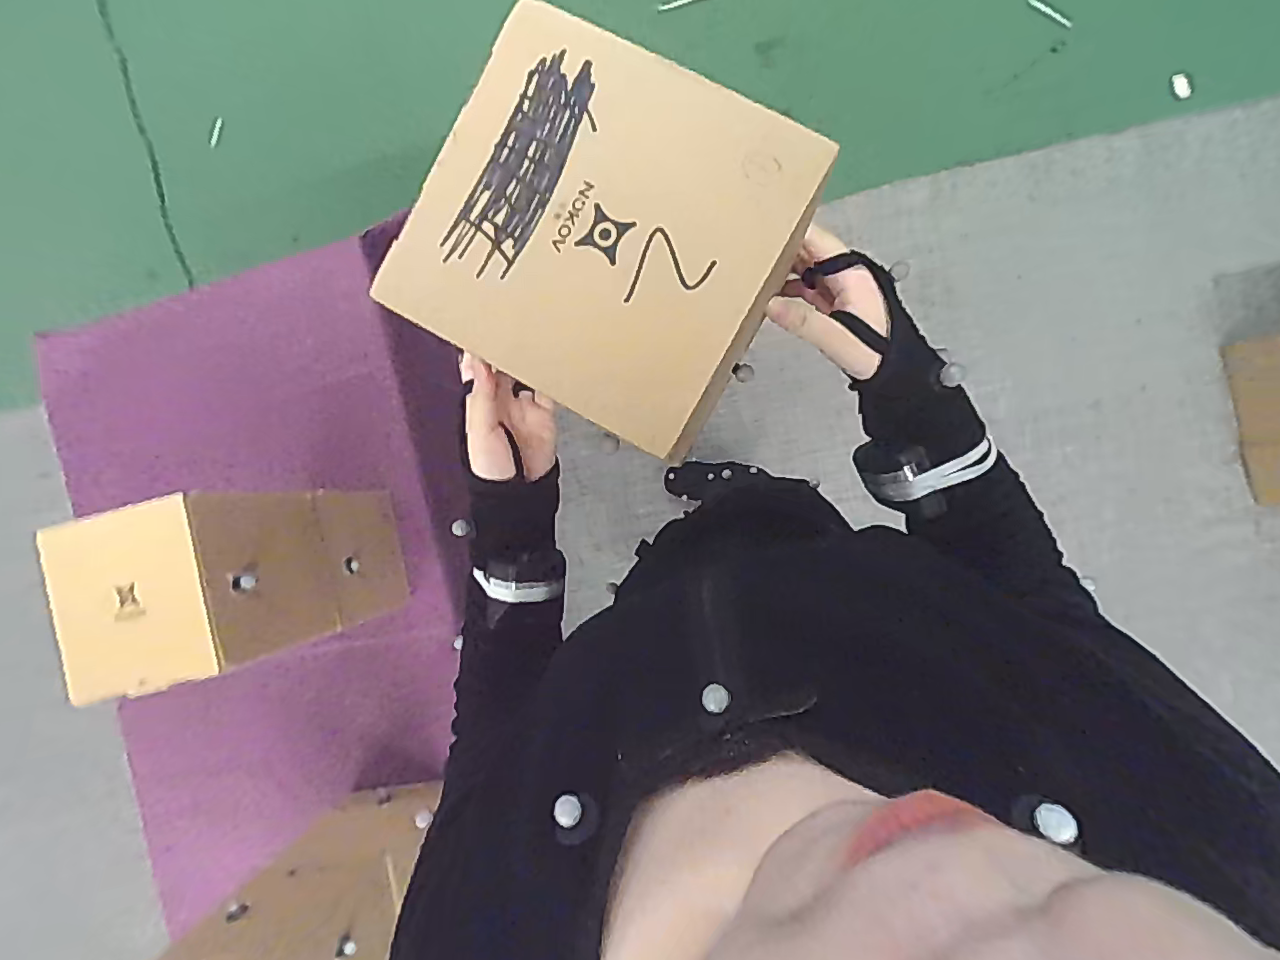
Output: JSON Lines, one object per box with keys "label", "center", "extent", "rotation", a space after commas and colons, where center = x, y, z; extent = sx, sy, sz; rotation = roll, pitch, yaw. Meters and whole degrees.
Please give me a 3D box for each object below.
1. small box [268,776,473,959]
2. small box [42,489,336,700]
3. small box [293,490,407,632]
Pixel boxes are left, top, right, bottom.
{"label": "small box", "center": [-0.359, 0.540, 0.746], "extent": [0.179, 0.176, 0.168], "rotation": [-12, 89, 8]}
{"label": "small box", "center": [-0.476, 0.111, 0.597], "extent": [0.168, 0.176, 0.179], "rotation": [-14, 89, 7]}
{"label": "small box", "center": [-0.454, 0.115, 0.758], "extent": [0.168, 0.176, 0.179], "rotation": [-13, 88, 7]}
